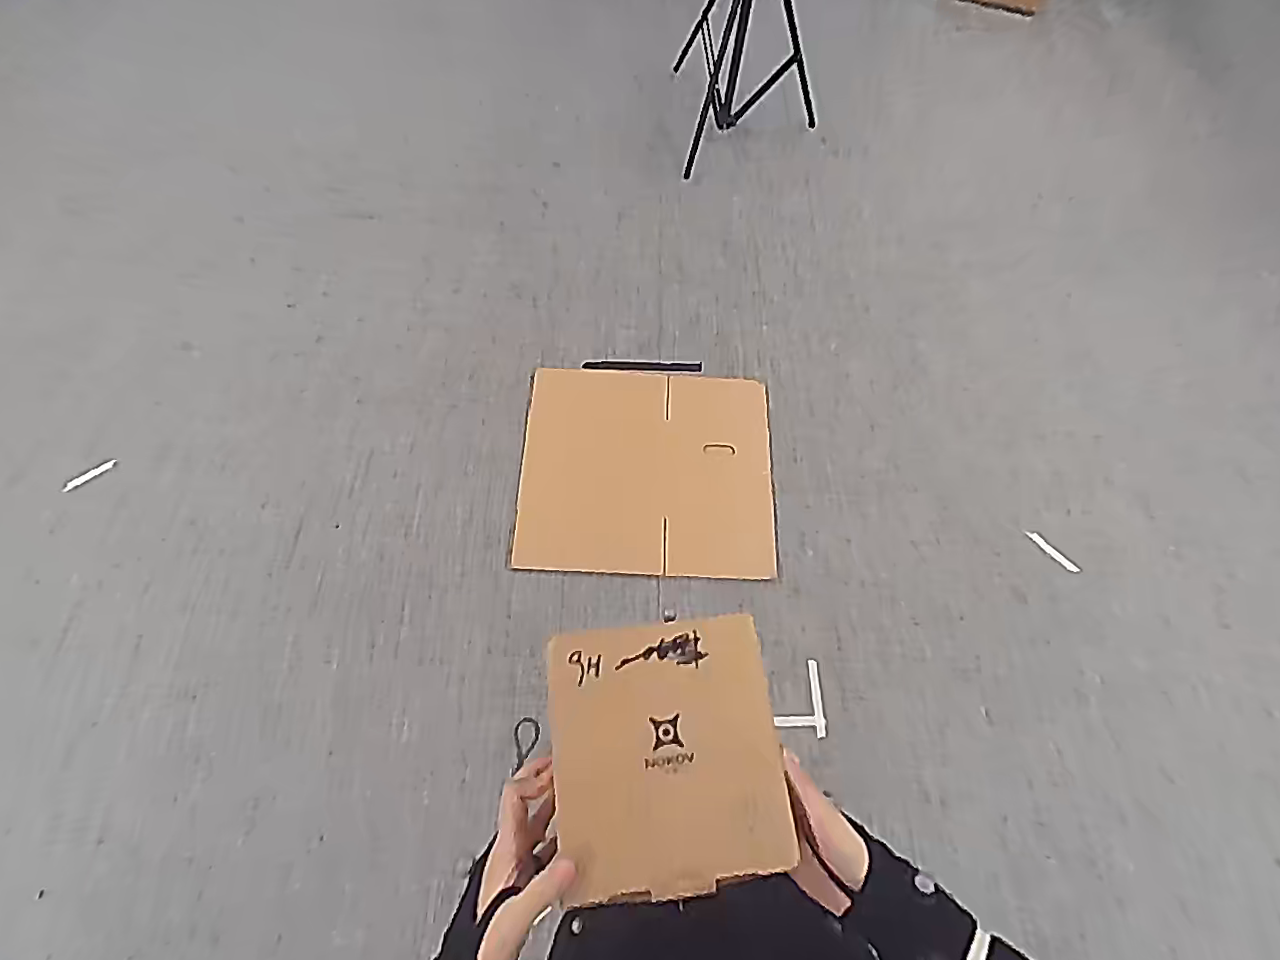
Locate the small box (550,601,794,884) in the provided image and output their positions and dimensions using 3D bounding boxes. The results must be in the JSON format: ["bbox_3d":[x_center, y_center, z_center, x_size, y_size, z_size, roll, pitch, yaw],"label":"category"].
[{"bbox_3d":[0.014,0.210,0.468,0.168,0.176,0.179,-4,69,-7],"label":"small box"}]
